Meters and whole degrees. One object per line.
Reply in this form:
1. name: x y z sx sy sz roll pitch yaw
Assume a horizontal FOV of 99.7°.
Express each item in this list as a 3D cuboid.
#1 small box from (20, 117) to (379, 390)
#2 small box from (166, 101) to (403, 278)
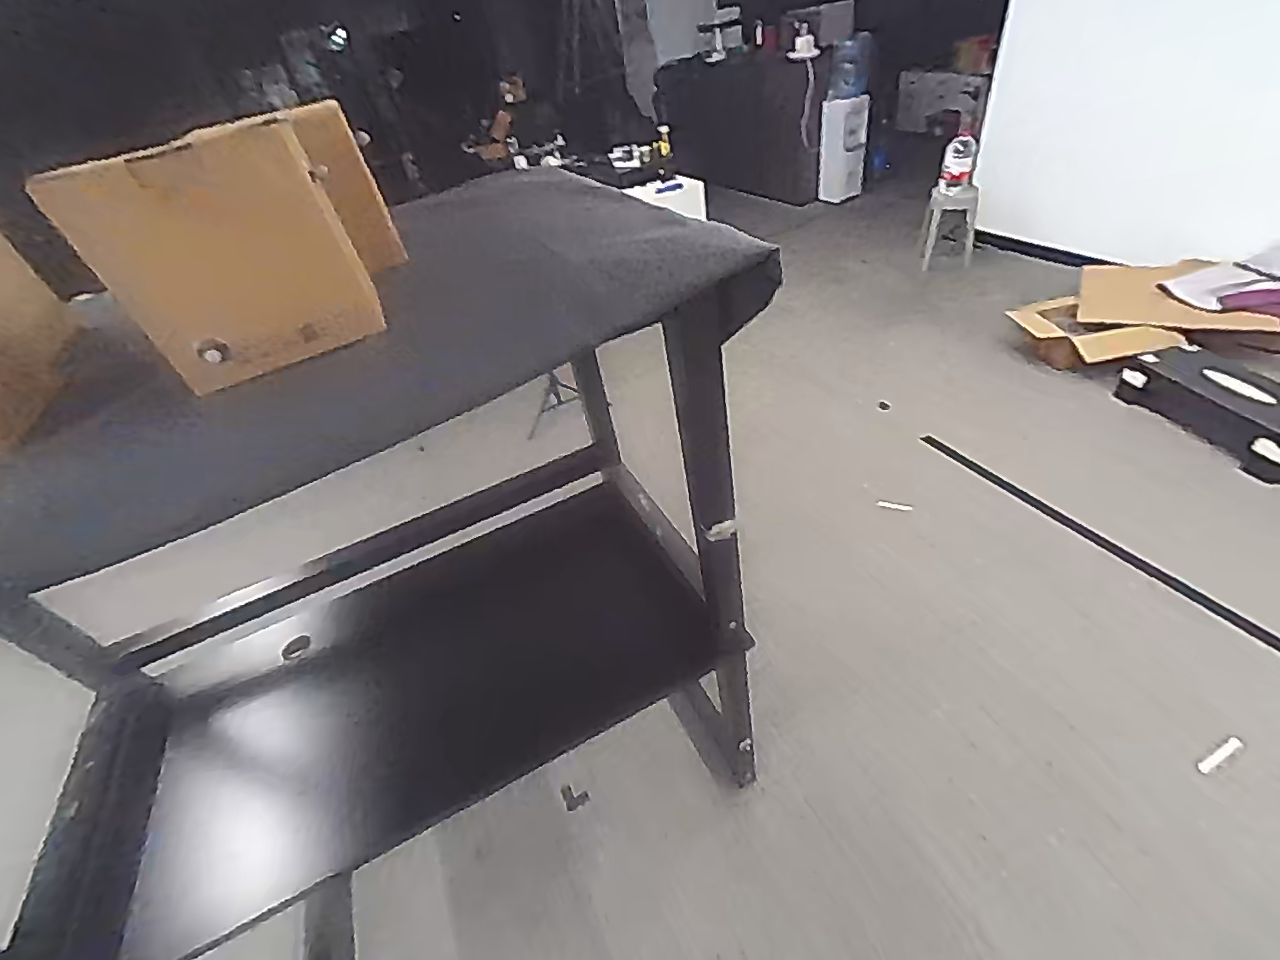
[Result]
1. small box: -0.354 -0.201 0.481 0.168 0.176 0.179 -26 41 -14
2. small box: -0.411 -0.339 0.656 0.168 0.176 0.179 -24 43 -13
